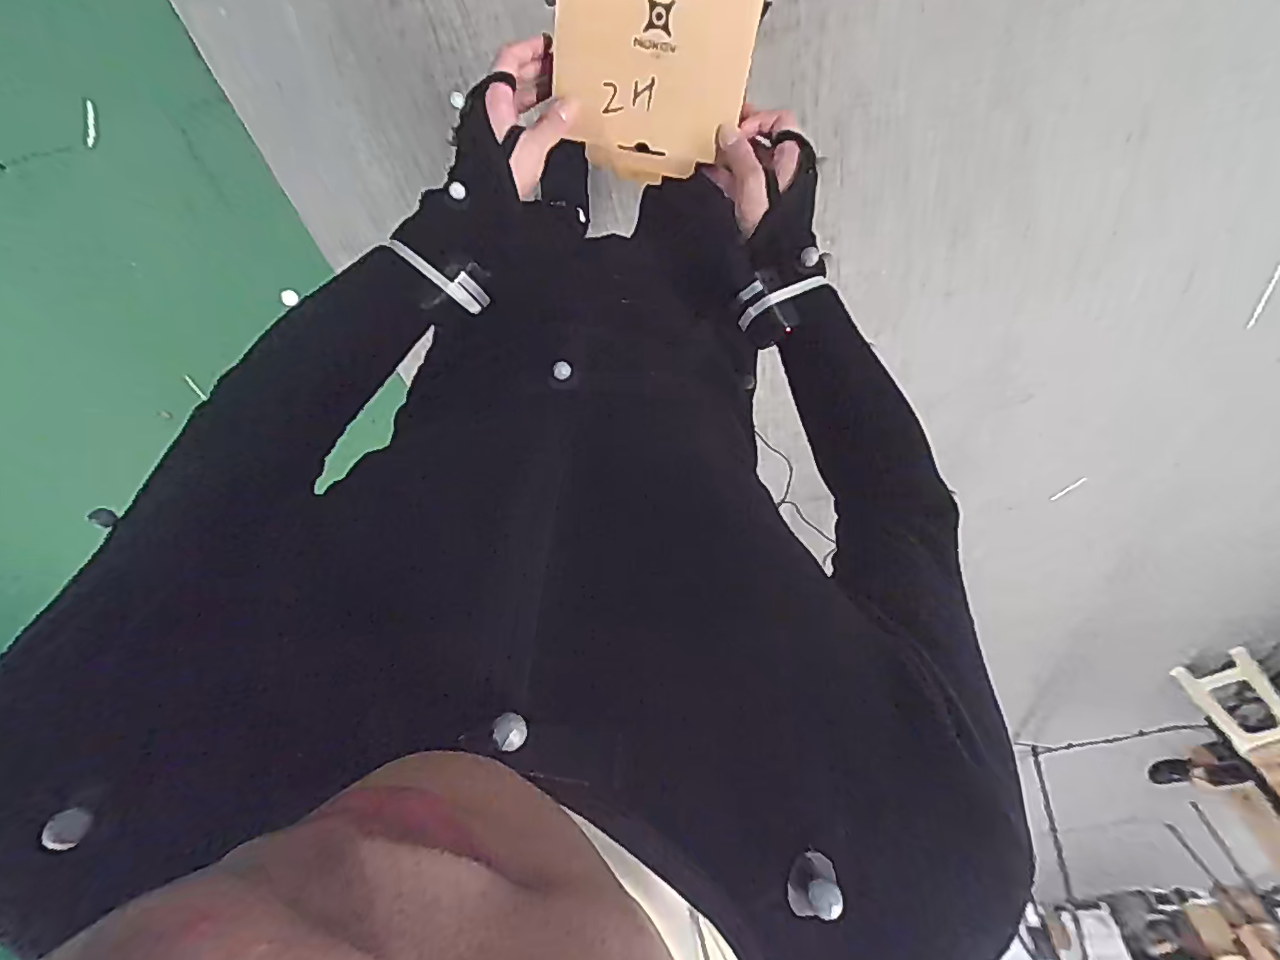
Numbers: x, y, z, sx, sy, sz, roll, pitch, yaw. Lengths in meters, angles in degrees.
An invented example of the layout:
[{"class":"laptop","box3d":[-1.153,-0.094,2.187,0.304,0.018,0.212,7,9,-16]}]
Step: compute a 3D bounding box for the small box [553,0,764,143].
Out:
[{"class":"small box","box3d":[0.016,-0.430,0.493,0.168,0.176,0.179,7,127,-5]}]
